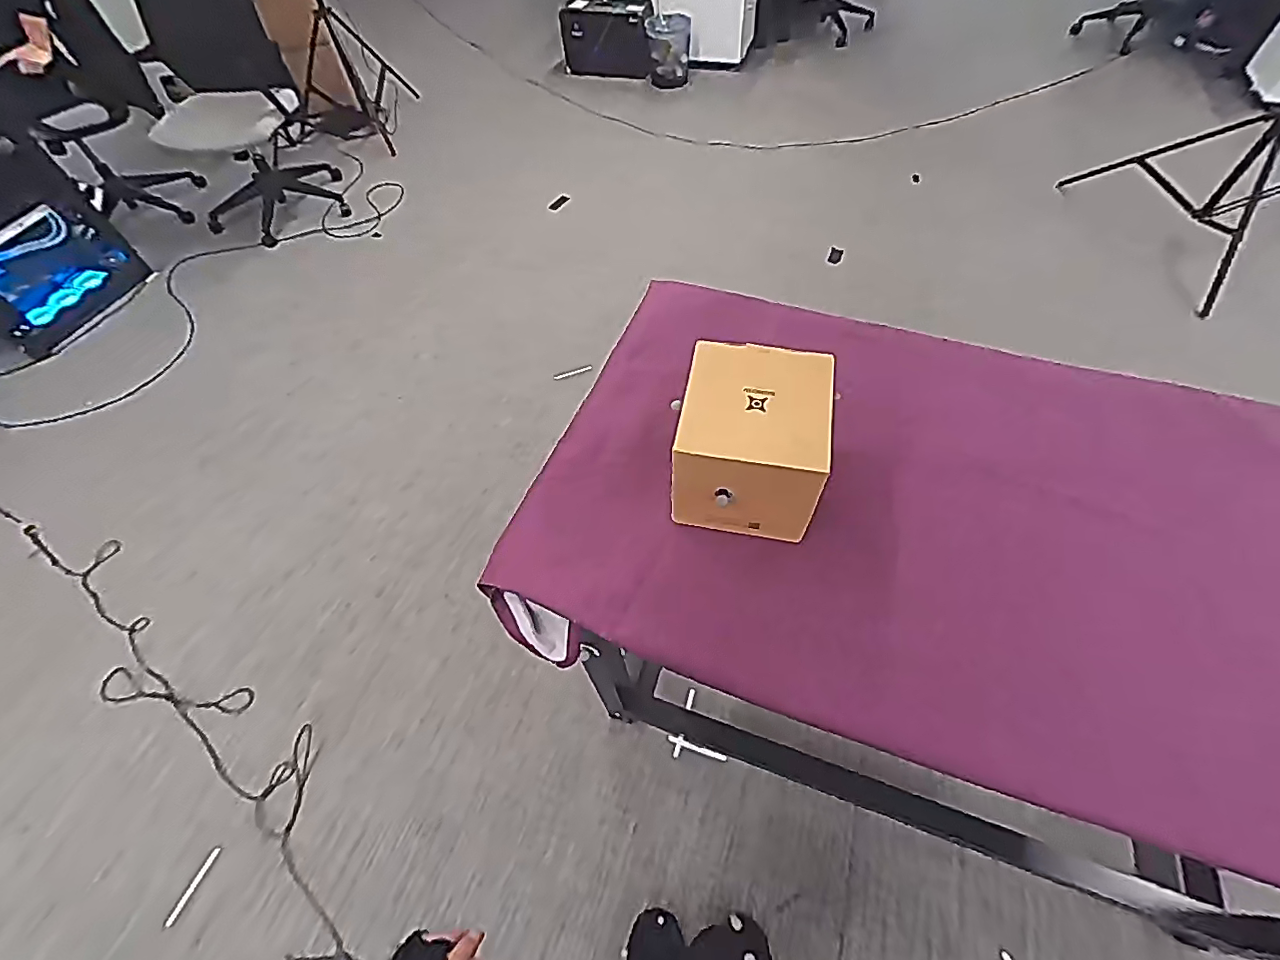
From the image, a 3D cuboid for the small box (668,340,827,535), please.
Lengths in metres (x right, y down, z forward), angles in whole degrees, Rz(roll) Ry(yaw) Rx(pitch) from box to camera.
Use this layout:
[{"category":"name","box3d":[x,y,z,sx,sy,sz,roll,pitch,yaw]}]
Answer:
[{"category":"small box","box3d":[0.133,-0.049,0.682,0.168,0.176,0.179,8,57,9]}]
